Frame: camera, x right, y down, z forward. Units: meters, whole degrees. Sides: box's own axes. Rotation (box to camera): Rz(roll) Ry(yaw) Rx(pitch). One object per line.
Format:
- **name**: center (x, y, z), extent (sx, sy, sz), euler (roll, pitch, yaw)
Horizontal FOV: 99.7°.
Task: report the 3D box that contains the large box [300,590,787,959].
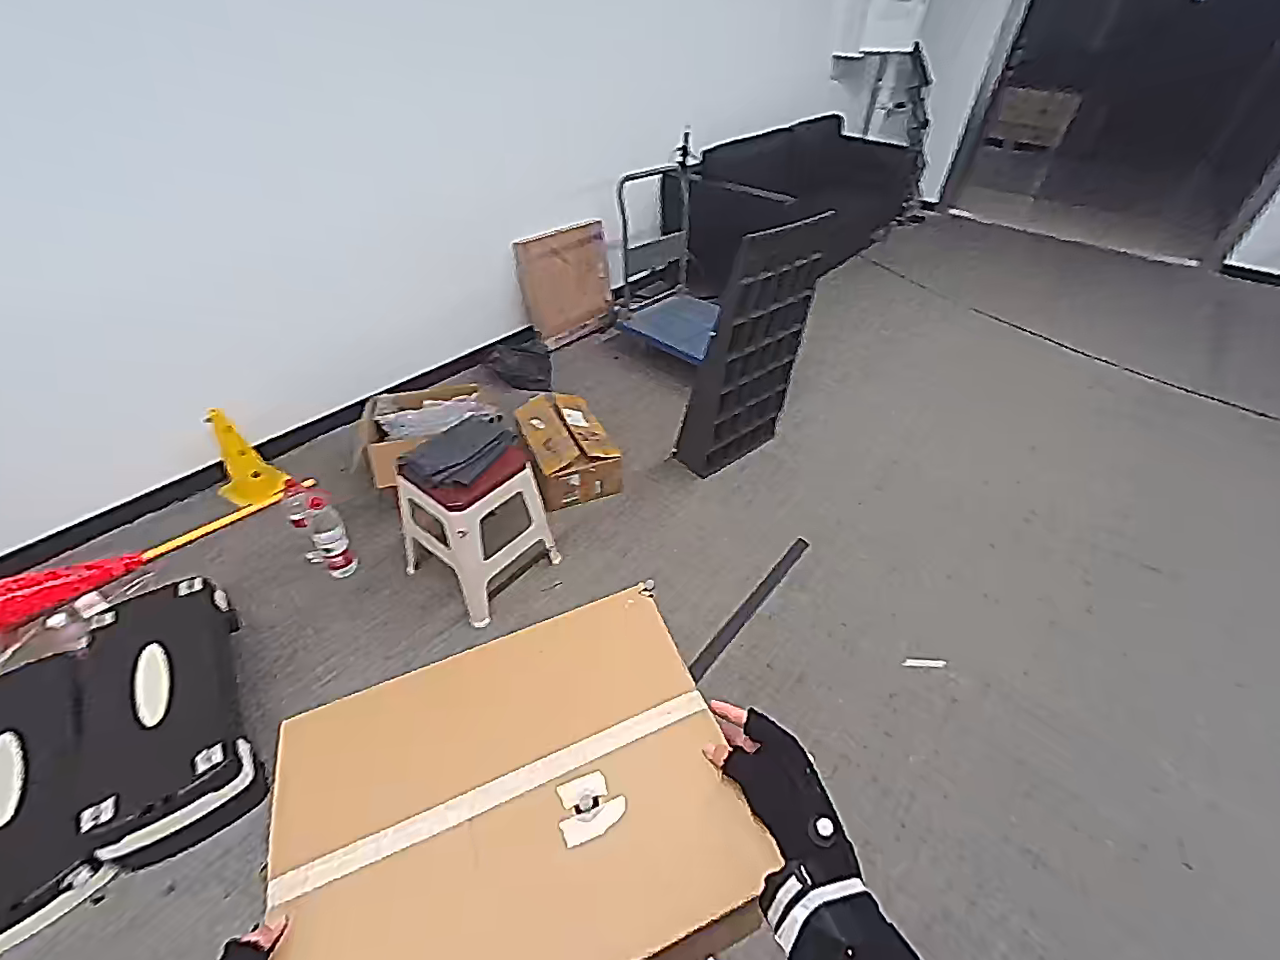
- **large box**: center (-0.102, 0.396, 0.619), extent (0.408, 0.320, 0.320), euler (-17, 46, -13)
